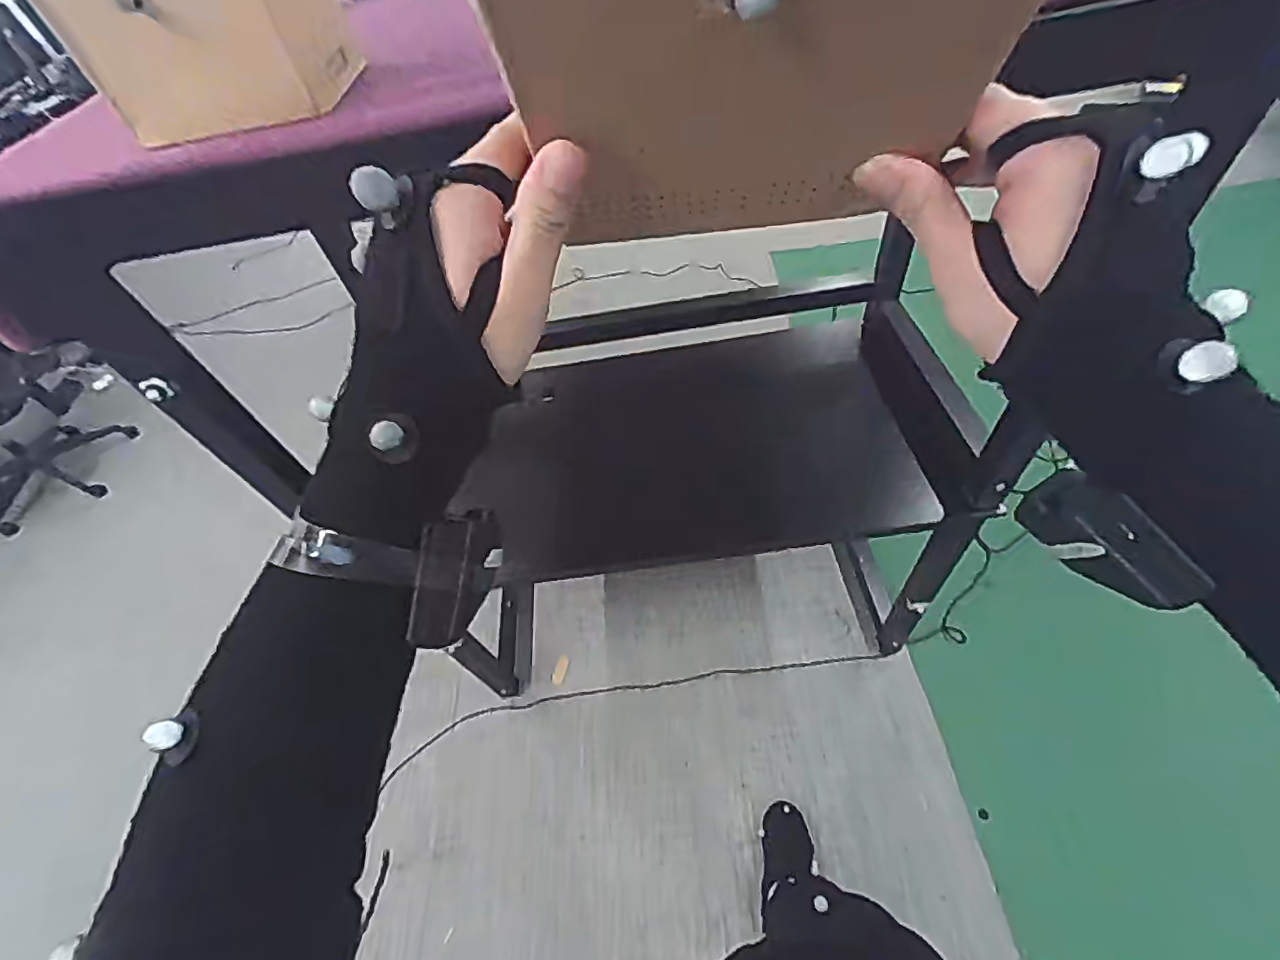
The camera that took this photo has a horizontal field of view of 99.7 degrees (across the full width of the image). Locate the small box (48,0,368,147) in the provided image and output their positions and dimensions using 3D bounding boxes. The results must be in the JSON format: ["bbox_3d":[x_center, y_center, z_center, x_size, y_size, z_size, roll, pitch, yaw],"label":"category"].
[{"bbox_3d":[-0.382,-0.422,0.480,0.179,0.176,0.168,-10,50,3],"label":"small box"}]

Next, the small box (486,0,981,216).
[{"bbox_3d":[0.031,-0.226,0.205,0.179,0.176,0.168,-3,81,5],"label":"small box"}]
